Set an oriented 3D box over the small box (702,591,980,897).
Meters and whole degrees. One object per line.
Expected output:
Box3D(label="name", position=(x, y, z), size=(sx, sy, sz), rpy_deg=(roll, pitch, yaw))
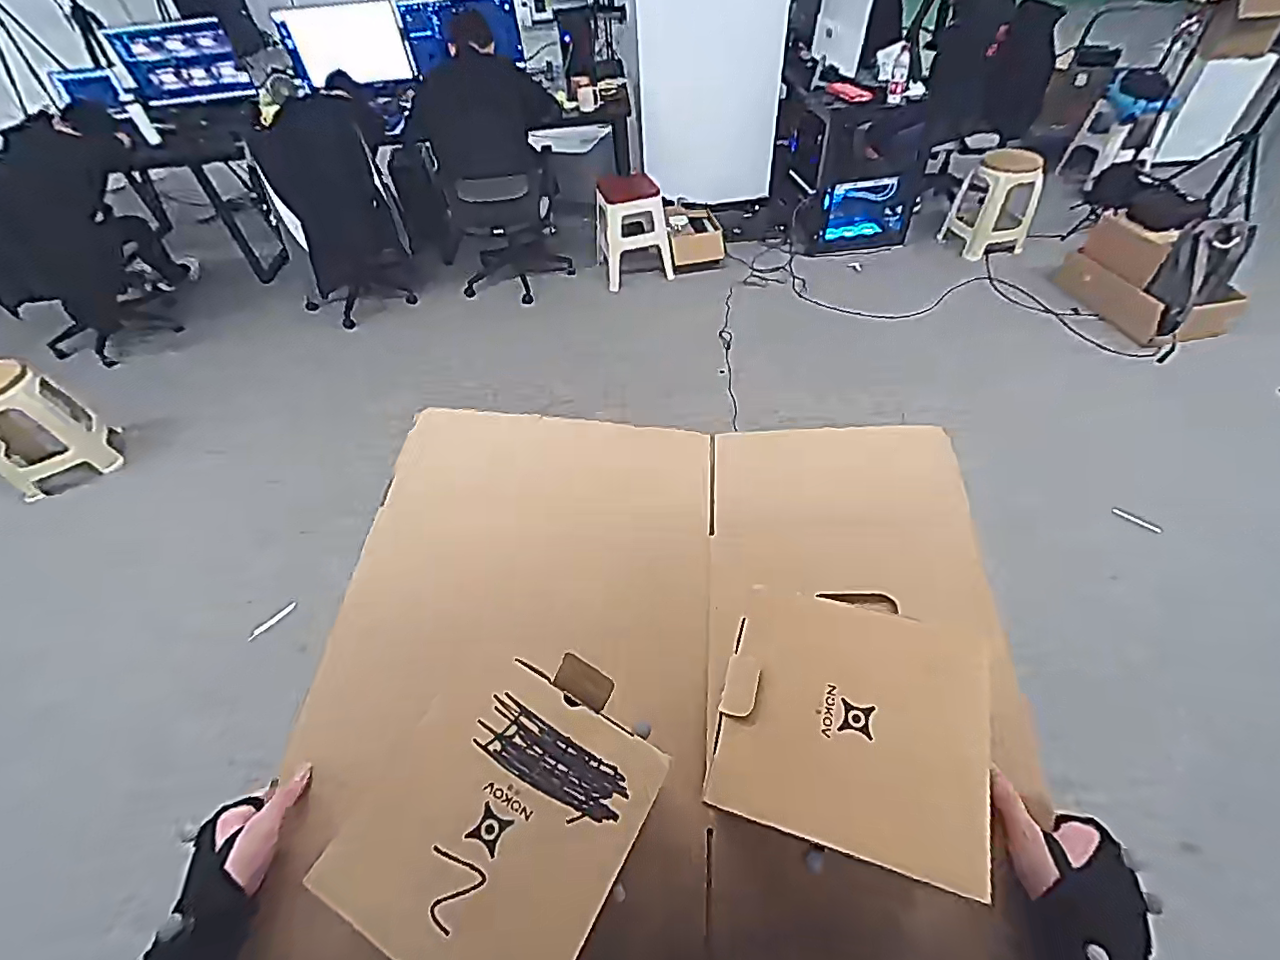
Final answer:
Box3D(label="small box", position=(0.163, 0.217, 0.460), size=(0.179, 0.176, 0.168), rpy_deg=(9, 60, 19))
